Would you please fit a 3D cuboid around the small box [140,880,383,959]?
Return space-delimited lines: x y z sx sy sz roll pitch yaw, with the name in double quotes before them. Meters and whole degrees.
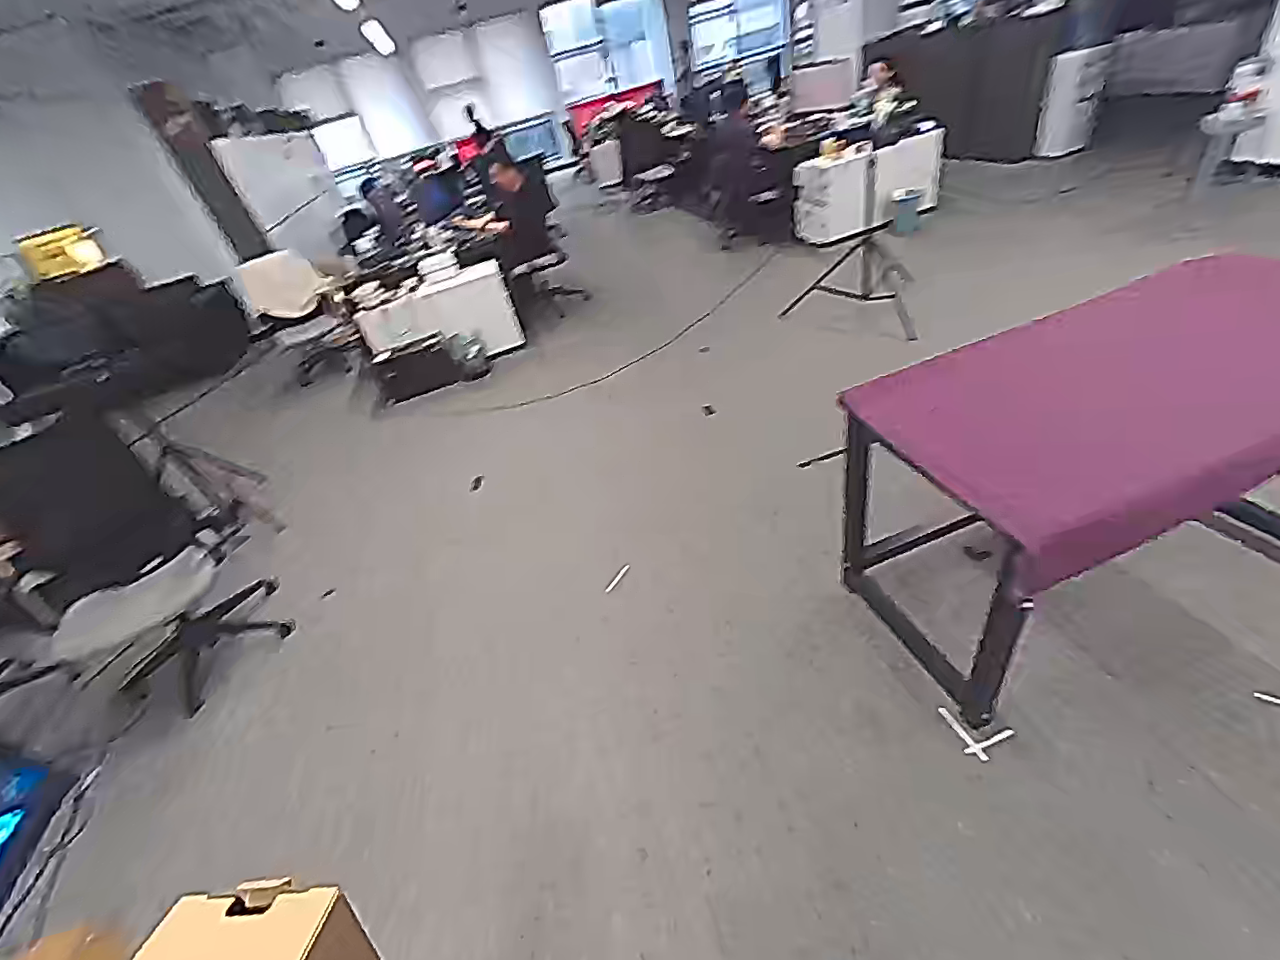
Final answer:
"small box" -0.340 0.489 0.462 0.168 0.176 0.179 -7 20 6
